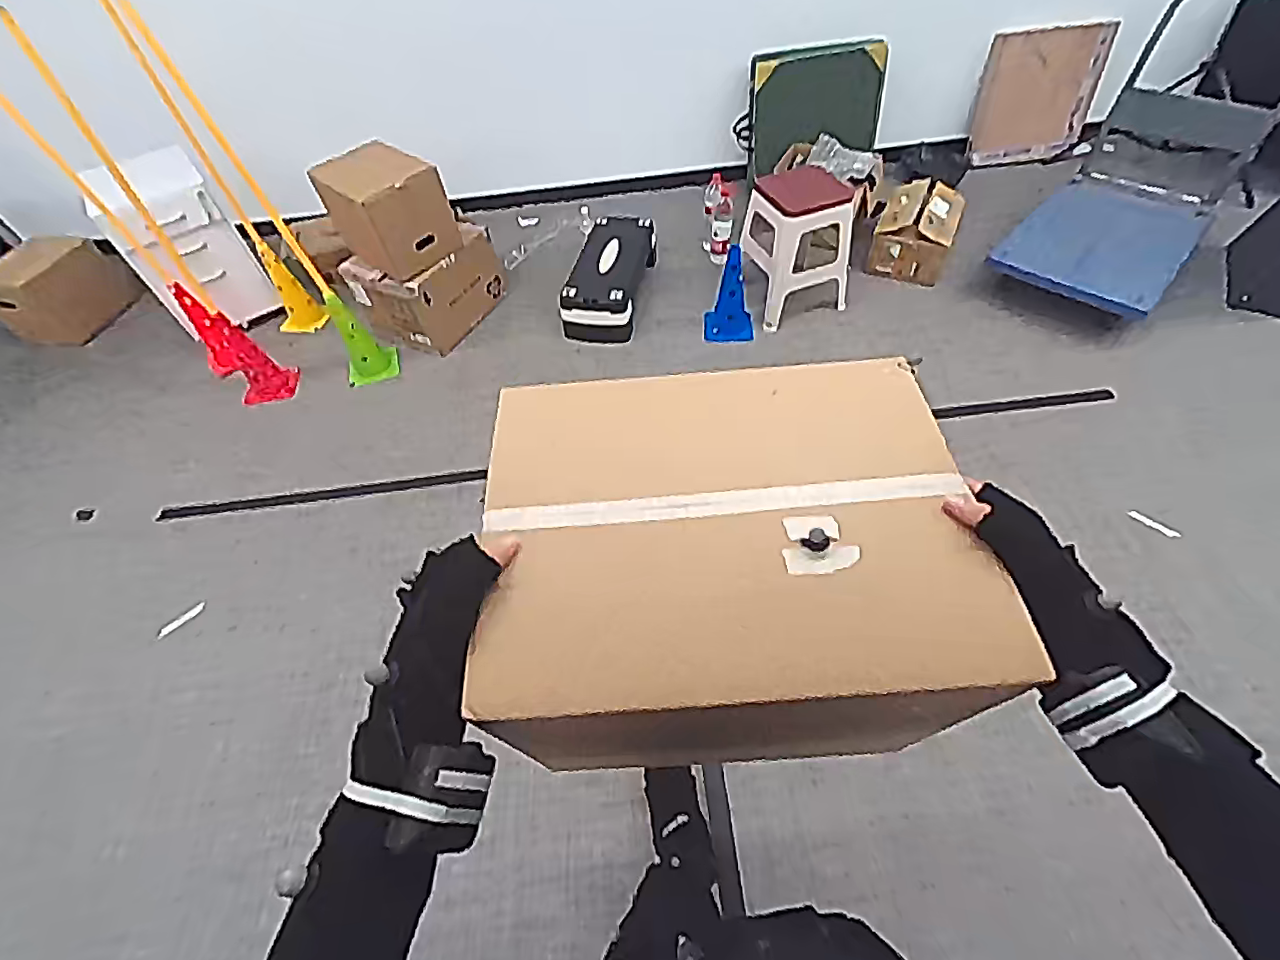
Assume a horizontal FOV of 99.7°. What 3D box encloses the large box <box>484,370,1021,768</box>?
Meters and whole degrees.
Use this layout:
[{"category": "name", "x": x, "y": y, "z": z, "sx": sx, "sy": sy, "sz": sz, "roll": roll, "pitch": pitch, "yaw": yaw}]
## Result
[{"category": "large box", "x": 0.079, "y": 0.112, "z": 0.598, "sx": 0.408, "sy": 0.320, "sz": 0.320, "roll": -4, "pitch": 55, "yaw": 1}]
